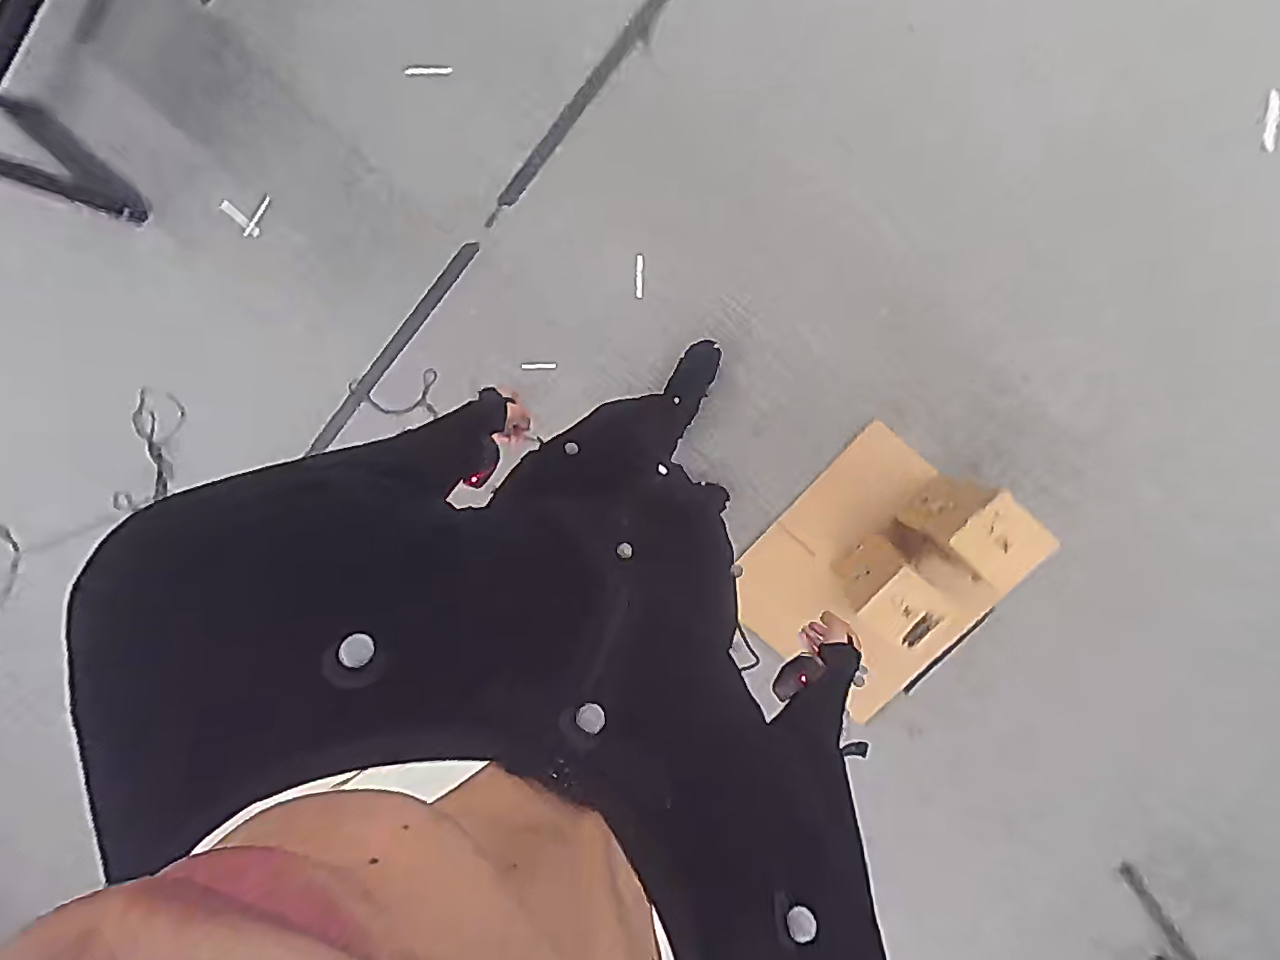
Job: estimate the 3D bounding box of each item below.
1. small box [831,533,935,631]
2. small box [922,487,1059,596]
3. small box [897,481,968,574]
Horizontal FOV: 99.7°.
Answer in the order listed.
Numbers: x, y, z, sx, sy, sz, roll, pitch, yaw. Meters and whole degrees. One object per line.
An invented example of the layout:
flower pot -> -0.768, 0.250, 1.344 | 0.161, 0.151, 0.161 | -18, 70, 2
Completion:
small box -> 0.653, 0.269, 1.475 | 0.168, 0.176, 0.179 | -44, 90, 11
small box -> 0.810, 0.134, 1.268 | 0.168, 0.176, 0.179 | -45, 89, 10
small box -> 0.820, 0.116, 1.432 | 0.179, 0.176, 0.168 | 45, 100, 1
